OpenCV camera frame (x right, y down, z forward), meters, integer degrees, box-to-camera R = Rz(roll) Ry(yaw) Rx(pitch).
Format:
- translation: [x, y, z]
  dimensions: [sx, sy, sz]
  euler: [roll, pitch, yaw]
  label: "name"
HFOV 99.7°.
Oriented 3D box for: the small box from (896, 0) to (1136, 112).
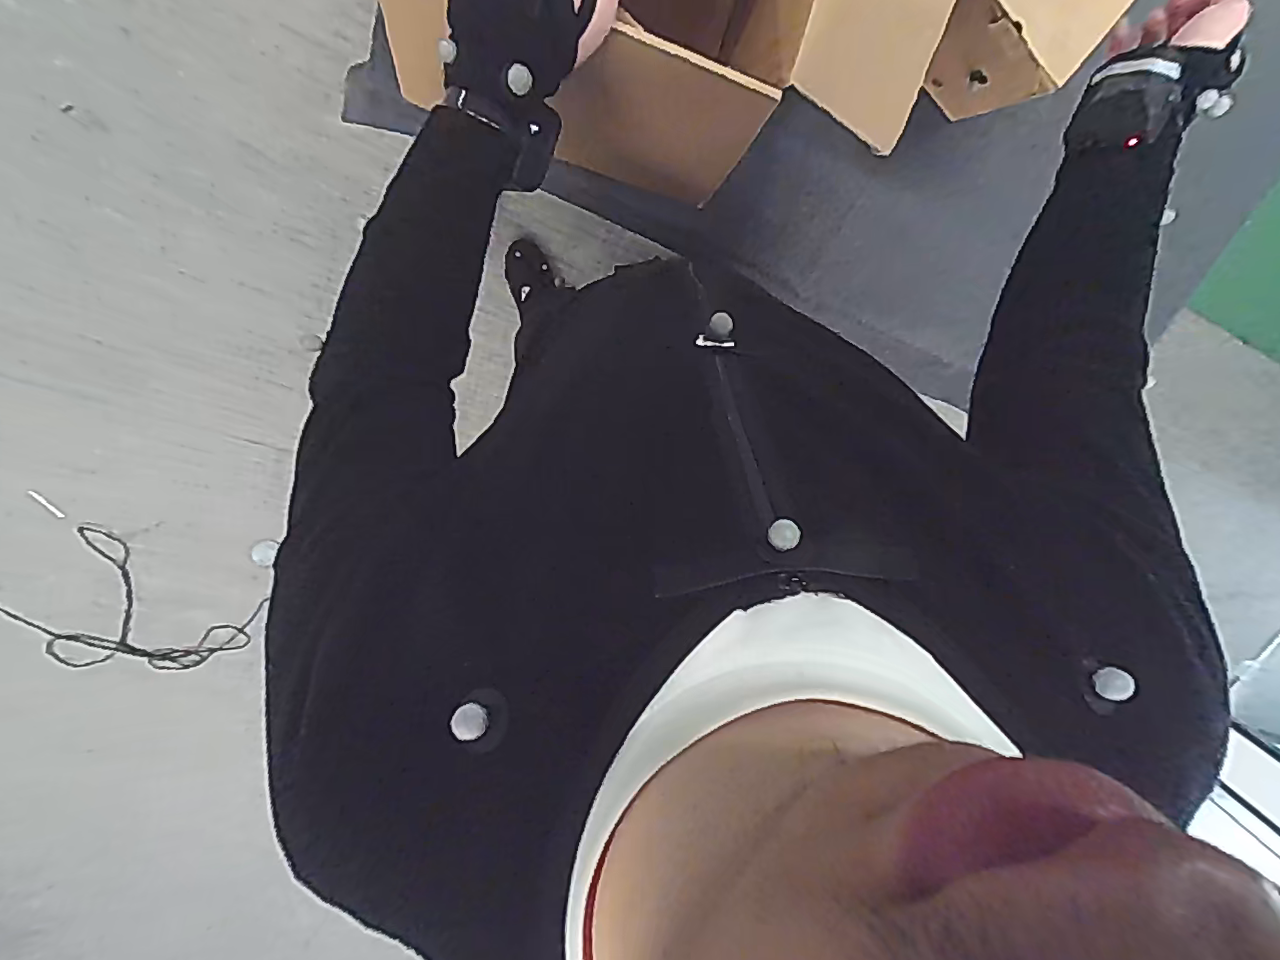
- translation: [0.417, -0.549, 0.592]
  dimensions: [0.168, 0.176, 0.179]
  euler: [32, 105, -22]
  label: "small box"
